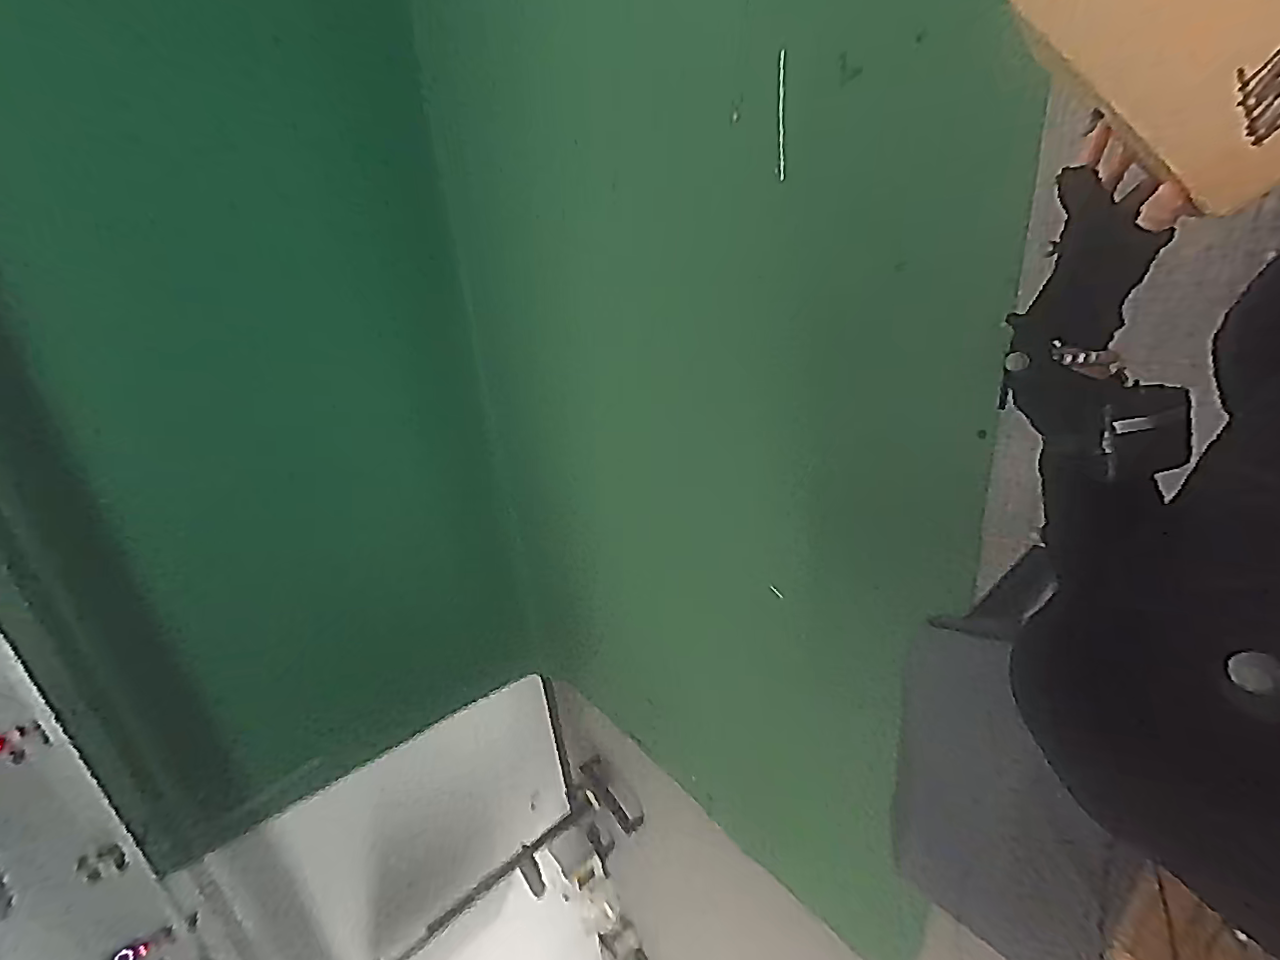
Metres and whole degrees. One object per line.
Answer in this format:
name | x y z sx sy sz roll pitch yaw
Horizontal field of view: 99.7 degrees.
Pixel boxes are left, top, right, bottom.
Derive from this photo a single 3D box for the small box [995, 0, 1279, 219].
small box | 0.352 -0.282 0.311 0.179 0.176 0.168 54 135 7
